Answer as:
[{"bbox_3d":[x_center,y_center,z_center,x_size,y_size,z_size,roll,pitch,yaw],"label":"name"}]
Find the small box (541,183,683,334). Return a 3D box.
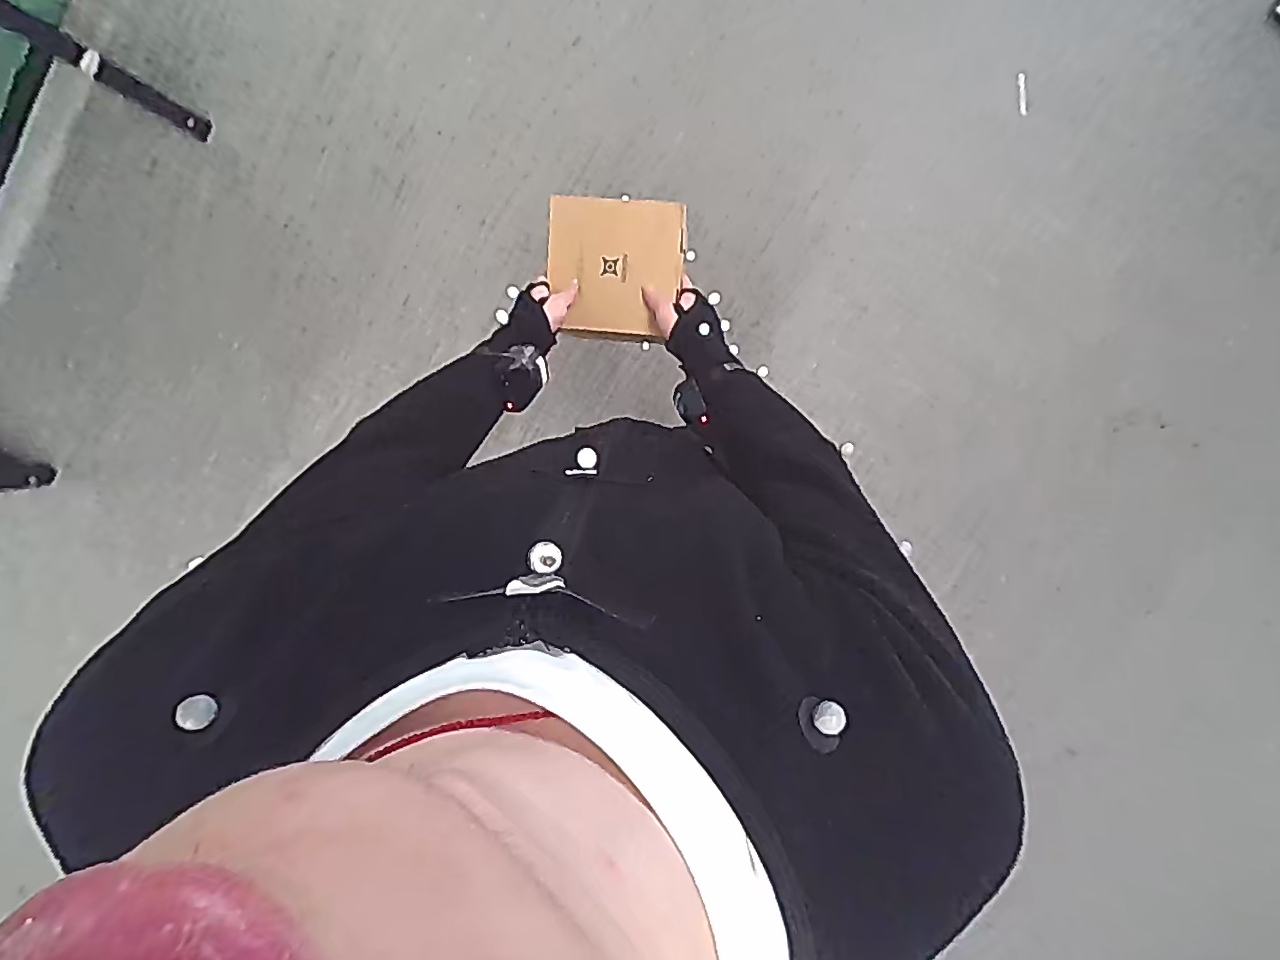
[{"bbox_3d":[-0.032,-0.304,0.776,0.179,0.176,0.168,6,100,6],"label":"small box"}]
